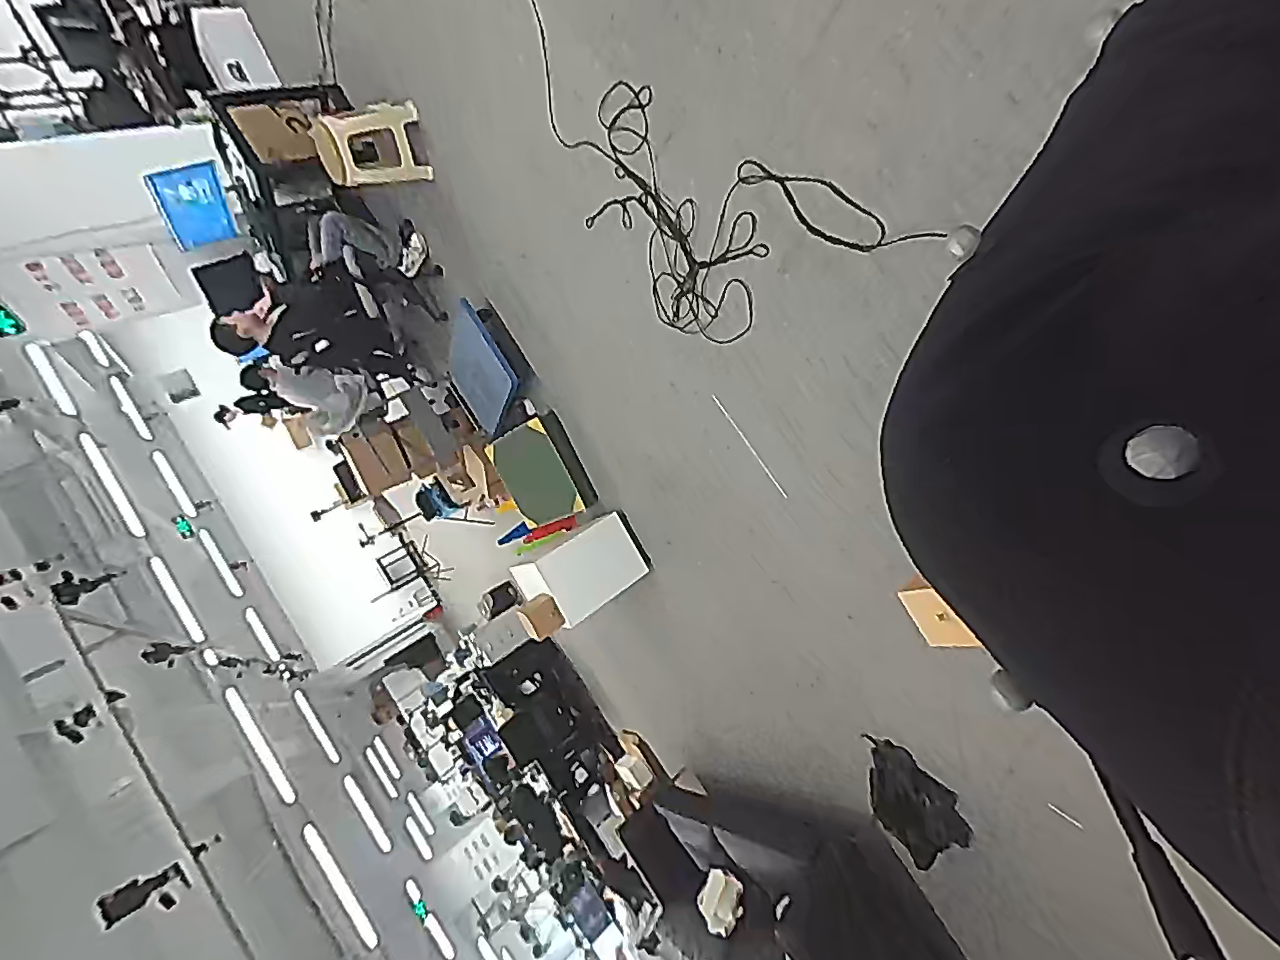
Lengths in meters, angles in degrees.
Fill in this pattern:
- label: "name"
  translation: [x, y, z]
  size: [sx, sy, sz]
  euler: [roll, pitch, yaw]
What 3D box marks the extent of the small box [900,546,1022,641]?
- label: "small box"
  translation: [0.805, 0.285, 1.357]
  size: [0.168, 0.176, 0.179]
  euler: [58, 150, 2]
